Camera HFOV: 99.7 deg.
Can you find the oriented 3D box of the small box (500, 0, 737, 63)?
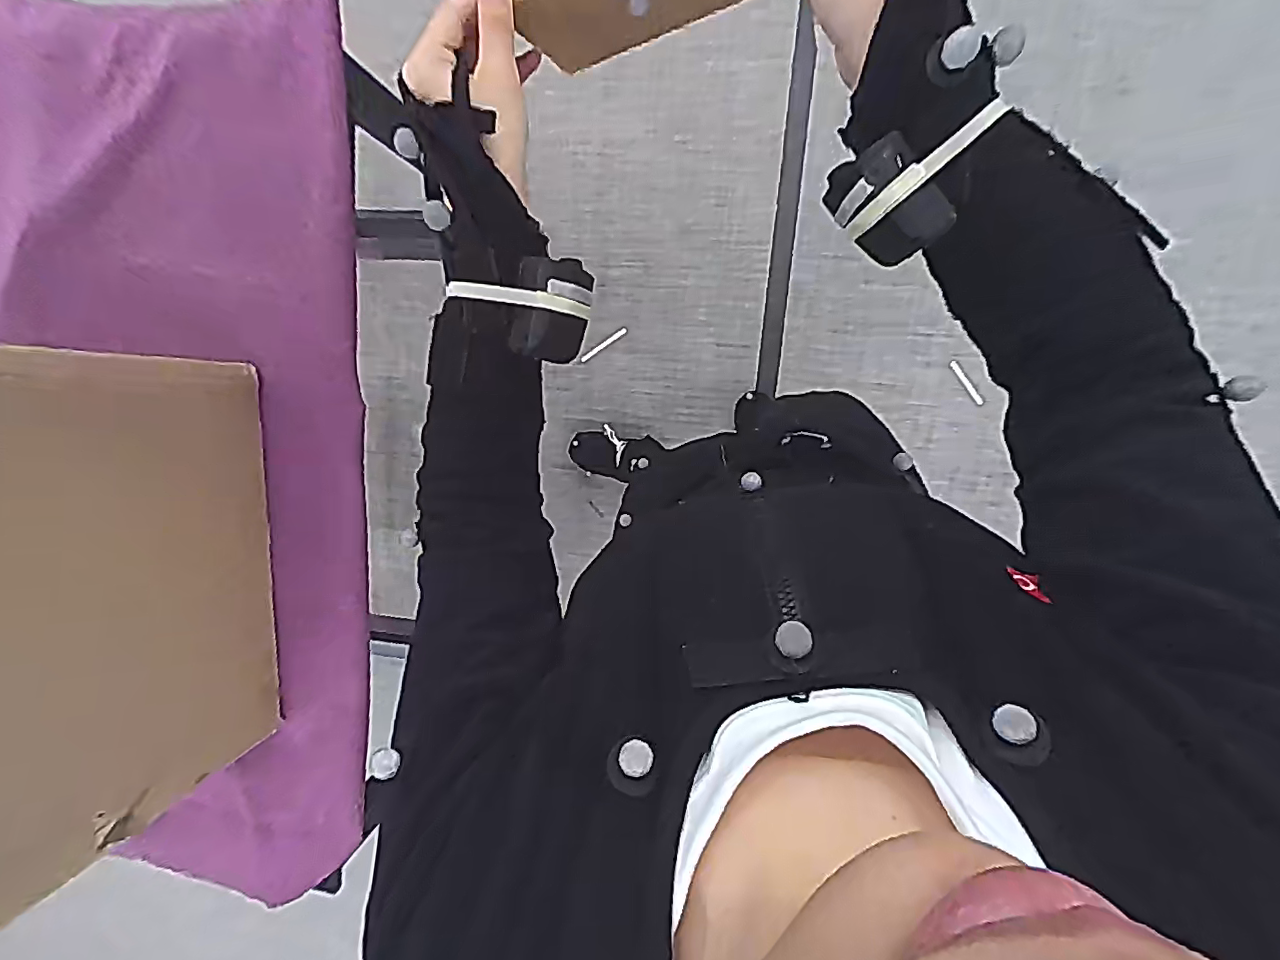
[{"bbox_3d":[-0.006,-0.386,0.317,0.179,0.176,0.168,-11,114,15],"label":"small box"}]
